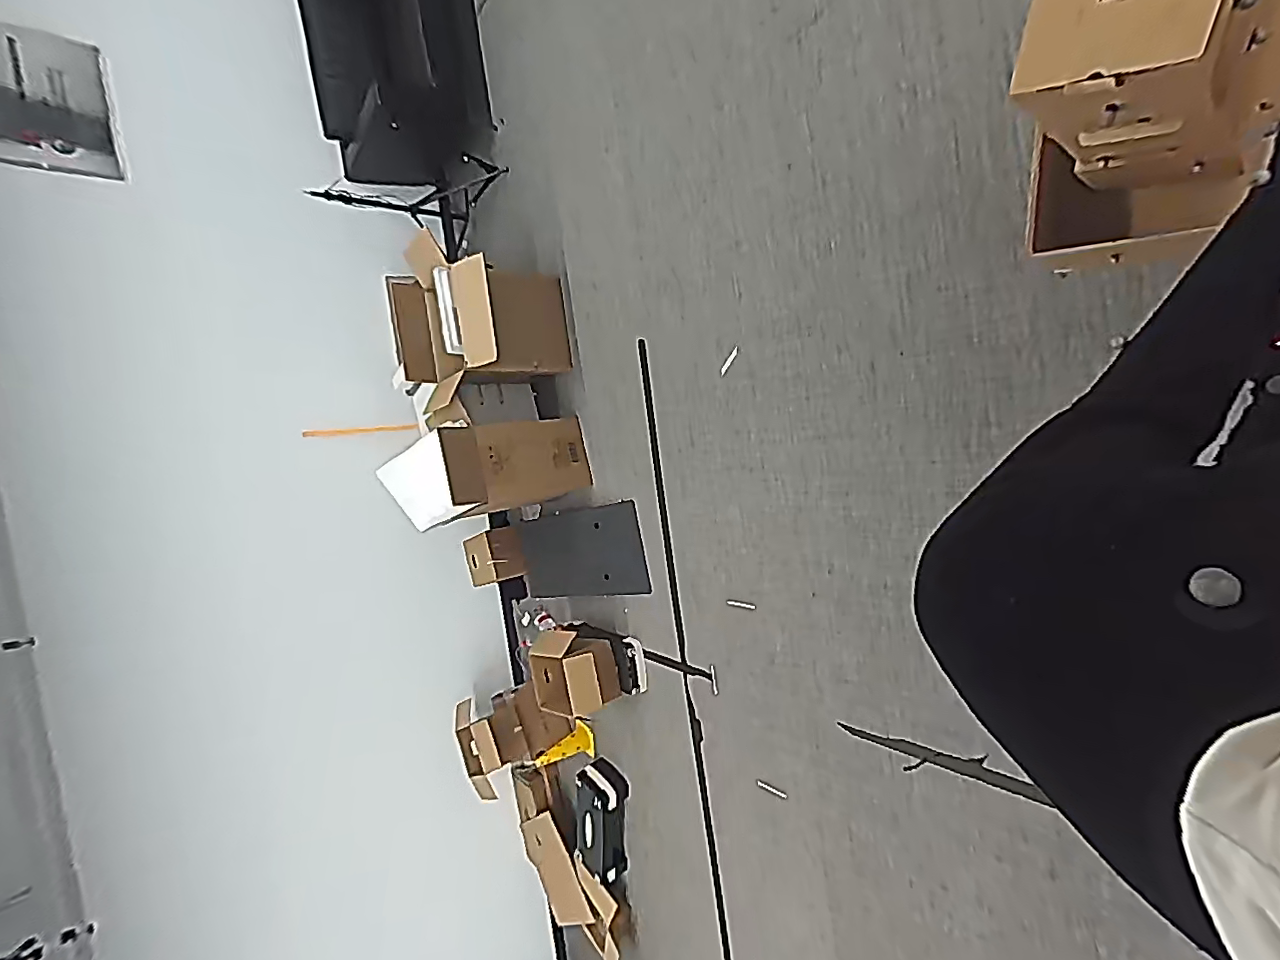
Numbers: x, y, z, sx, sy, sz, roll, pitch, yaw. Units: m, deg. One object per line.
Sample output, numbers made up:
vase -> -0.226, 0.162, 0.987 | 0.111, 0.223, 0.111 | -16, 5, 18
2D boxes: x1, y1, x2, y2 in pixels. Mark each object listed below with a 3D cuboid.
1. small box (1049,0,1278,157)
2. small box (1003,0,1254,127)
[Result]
small box -> 0.667, -0.534, 0.691 | 0.168, 0.176, 0.179 | 22, 113, 47
small box -> 0.540, -0.508, 0.589 | 0.168, 0.176, 0.179 | 27, 118, 45
